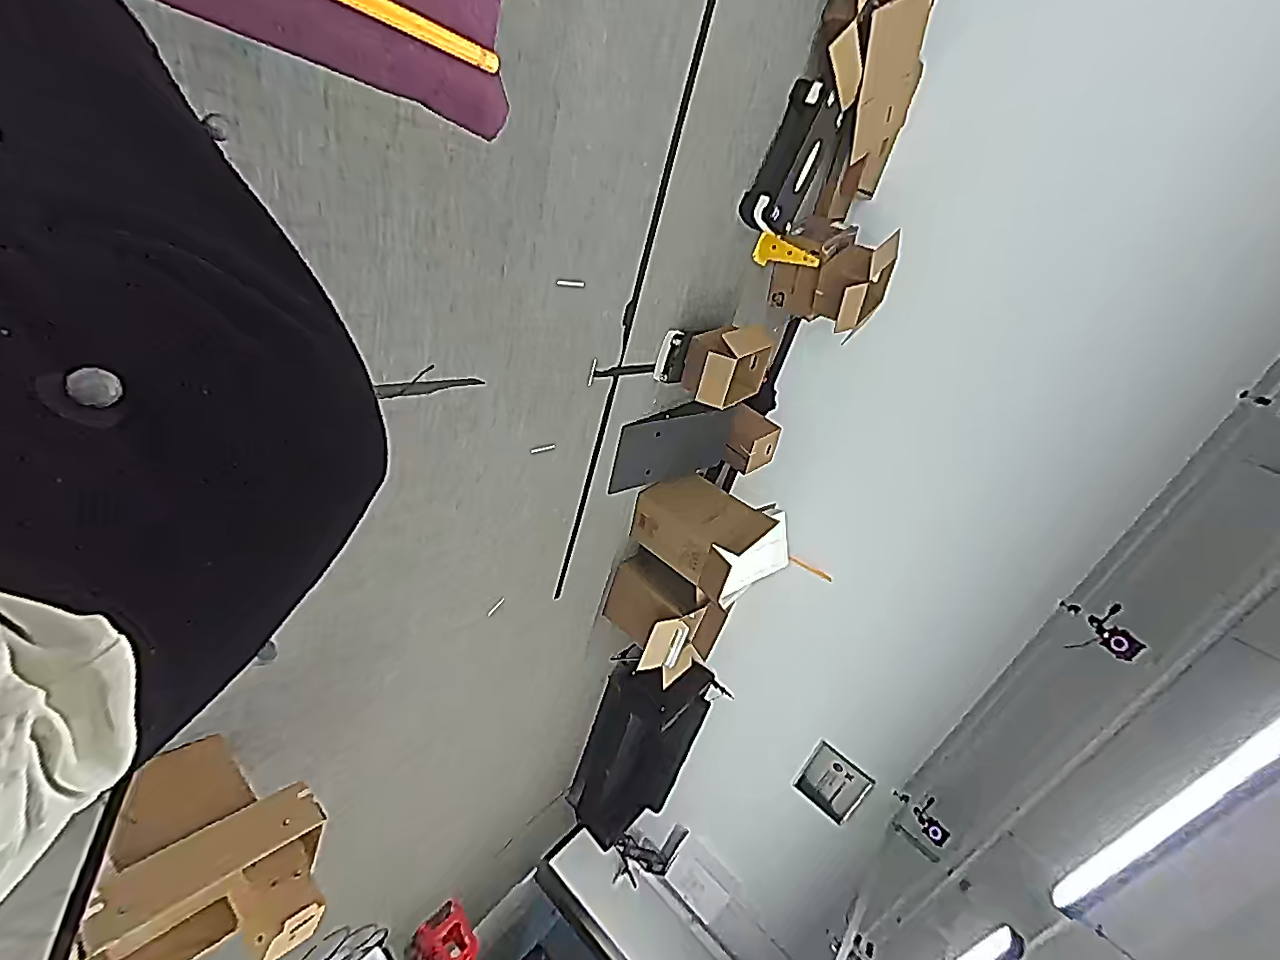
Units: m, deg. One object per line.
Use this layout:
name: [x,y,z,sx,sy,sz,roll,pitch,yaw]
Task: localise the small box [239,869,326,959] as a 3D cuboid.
small box: [-1.173,1.426,1.767,0.168,0.176,0.179,3,119,-59]
